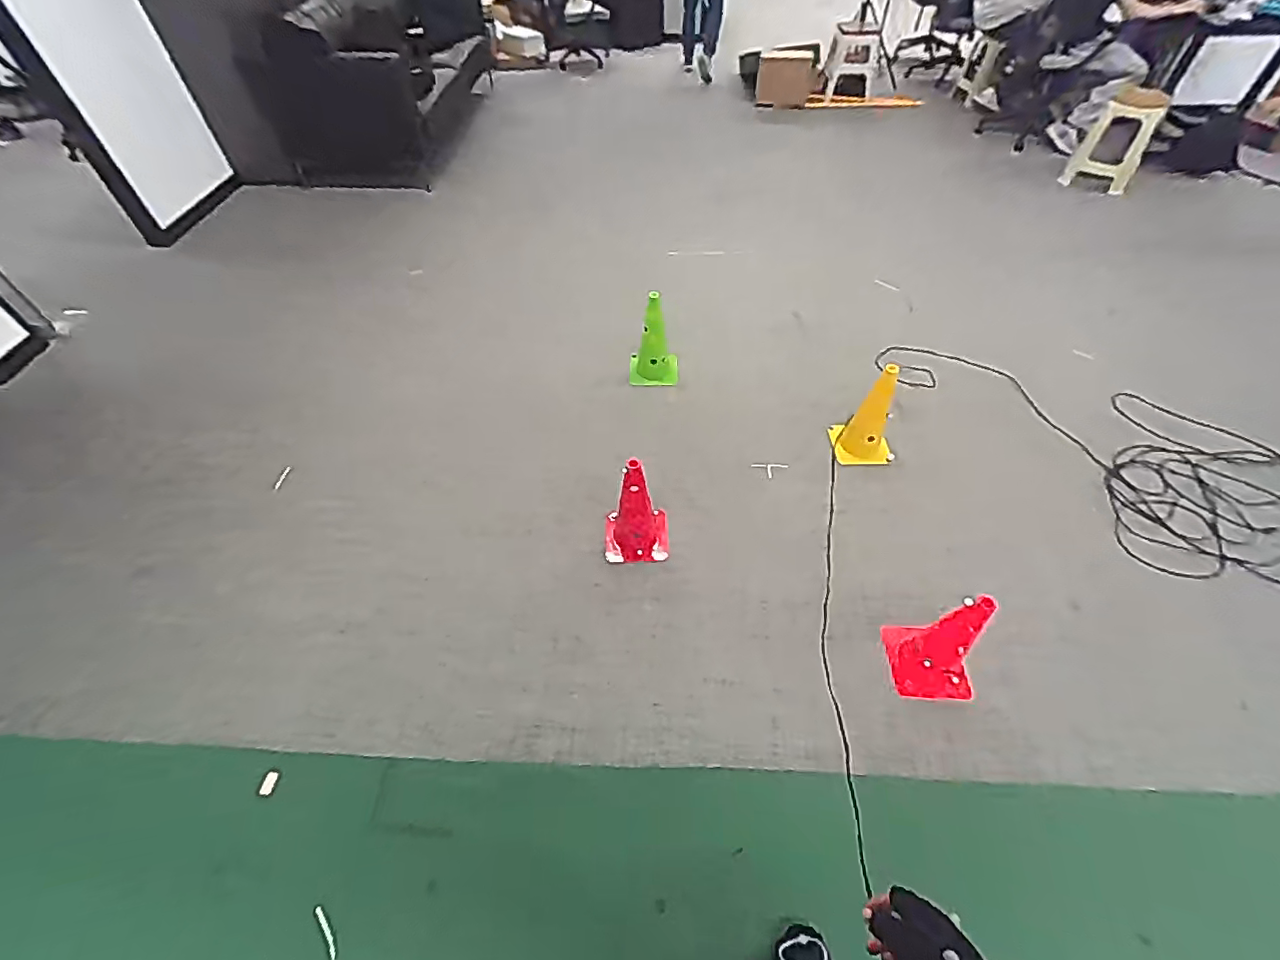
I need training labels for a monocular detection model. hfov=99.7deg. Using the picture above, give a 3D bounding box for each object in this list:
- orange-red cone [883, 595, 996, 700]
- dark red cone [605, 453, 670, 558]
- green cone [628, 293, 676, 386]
[{"bbox_3d":[0.778,0.385,1.344,0.198,0.360,0.199,2,49,2],"label":"orange-red cone"},{"bbox_3d":[-0.013,0.060,1.603,0.202,0.394,0.201,-3,52,-1],"label":"dark red cone"},{"bbox_3d":[0.052,-0.574,2.161,0.202,0.368,0.200,1,51,0],"label":"green cone"}]
